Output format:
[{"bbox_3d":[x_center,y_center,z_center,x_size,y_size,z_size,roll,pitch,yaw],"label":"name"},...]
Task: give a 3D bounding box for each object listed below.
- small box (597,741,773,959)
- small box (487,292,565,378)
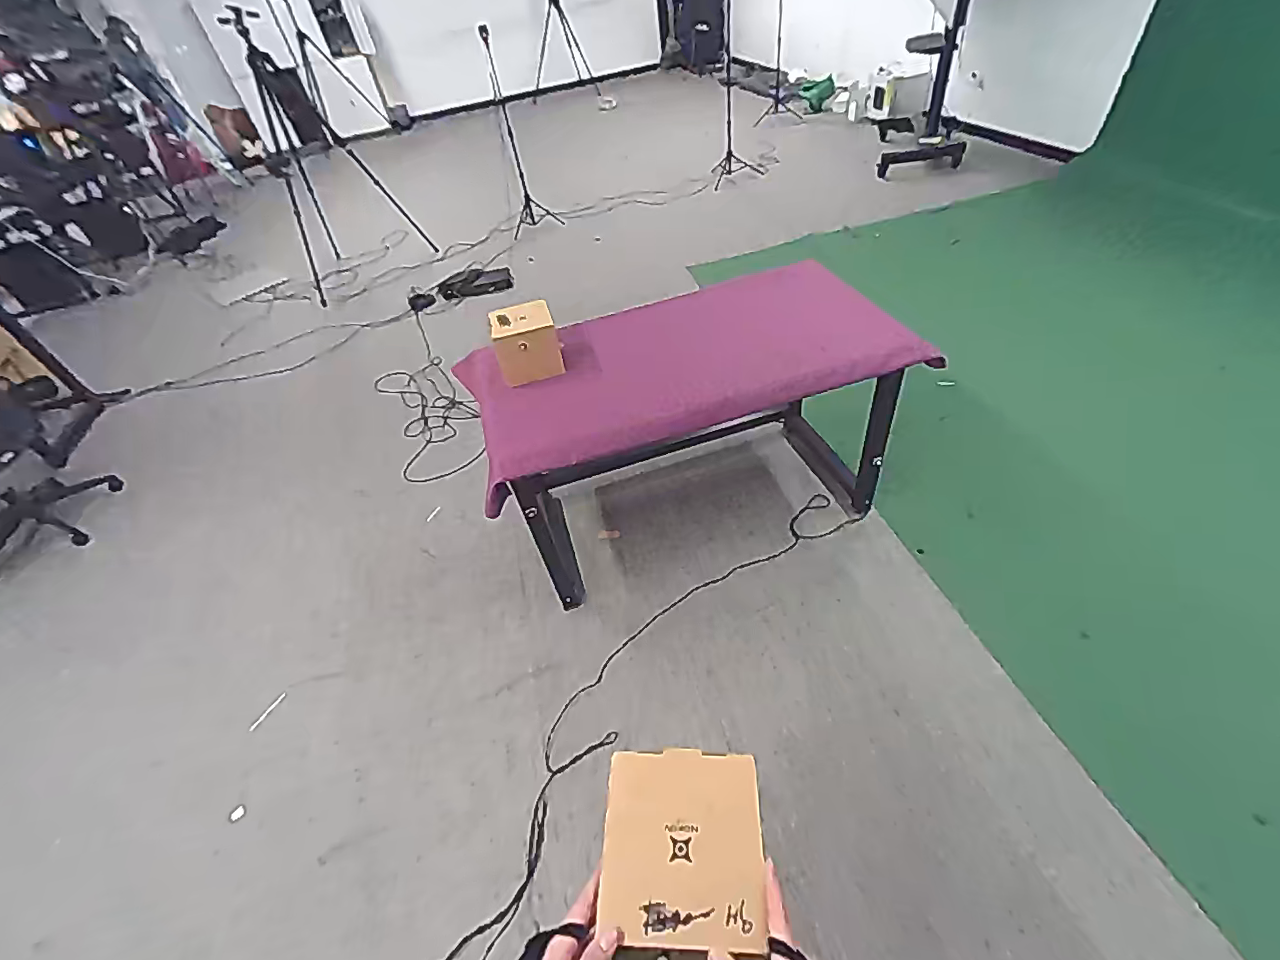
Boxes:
[{"bbox_3d":[0.054,0.421,0.612,0.168,0.176,0.179,-2,43,7],"label":"small box"},{"bbox_3d":[-0.333,-0.423,1.588,0.179,0.176,0.168,-16,47,-6],"label":"small box"}]
